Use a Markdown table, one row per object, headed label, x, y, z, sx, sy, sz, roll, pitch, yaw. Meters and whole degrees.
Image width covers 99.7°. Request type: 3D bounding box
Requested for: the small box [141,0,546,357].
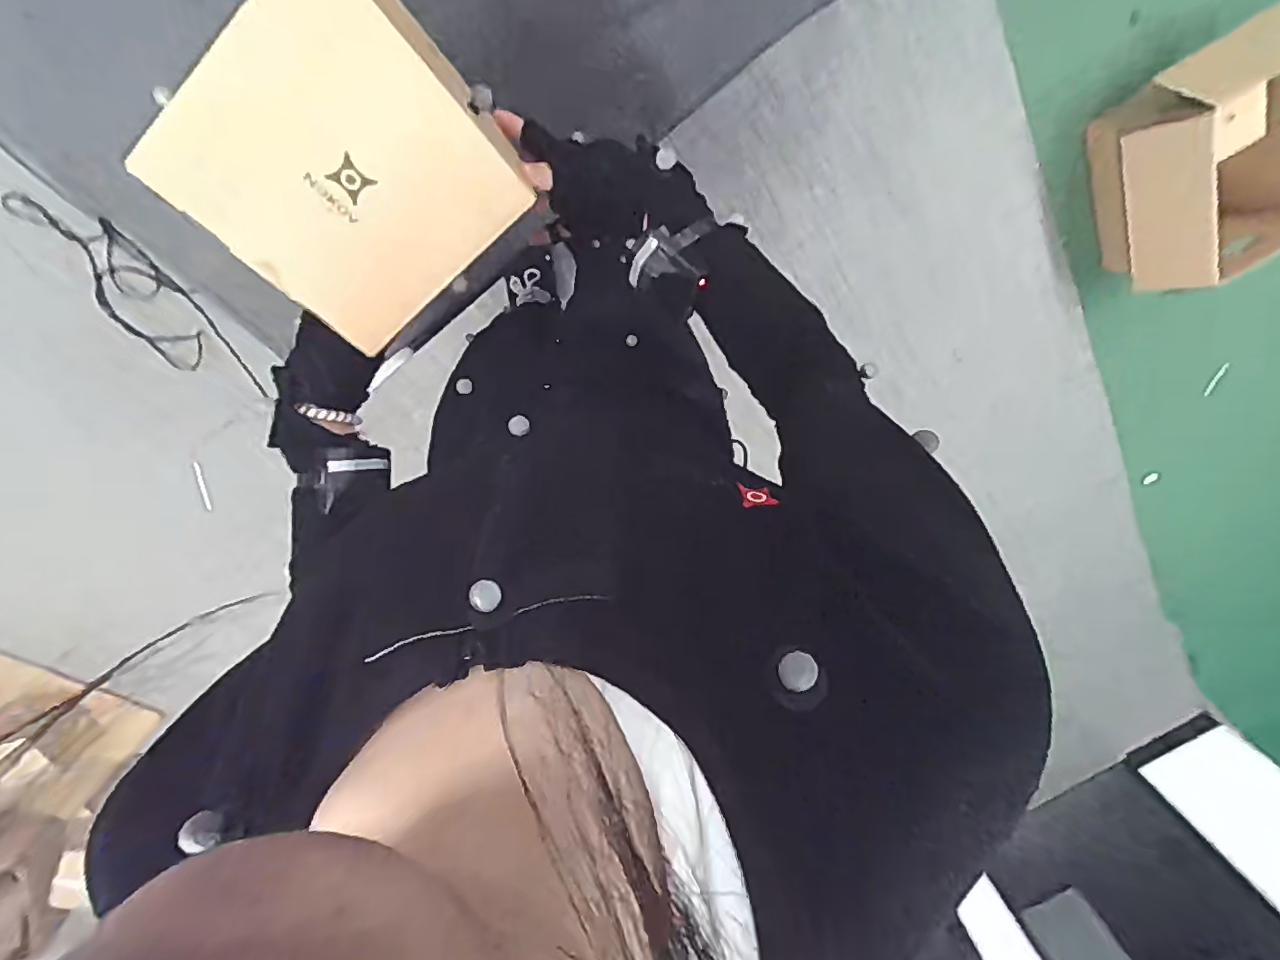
| label | x | y | z | sx | sy | sz | roll | pitch | yaw |
| --- | --- | --- | --- | --- | --- | --- | --- | --- | --- |
| small box | -0.193 | -0.233 | 0.401 | 0.179 | 0.176 | 0.168 | -35 | 128 | 14 |
